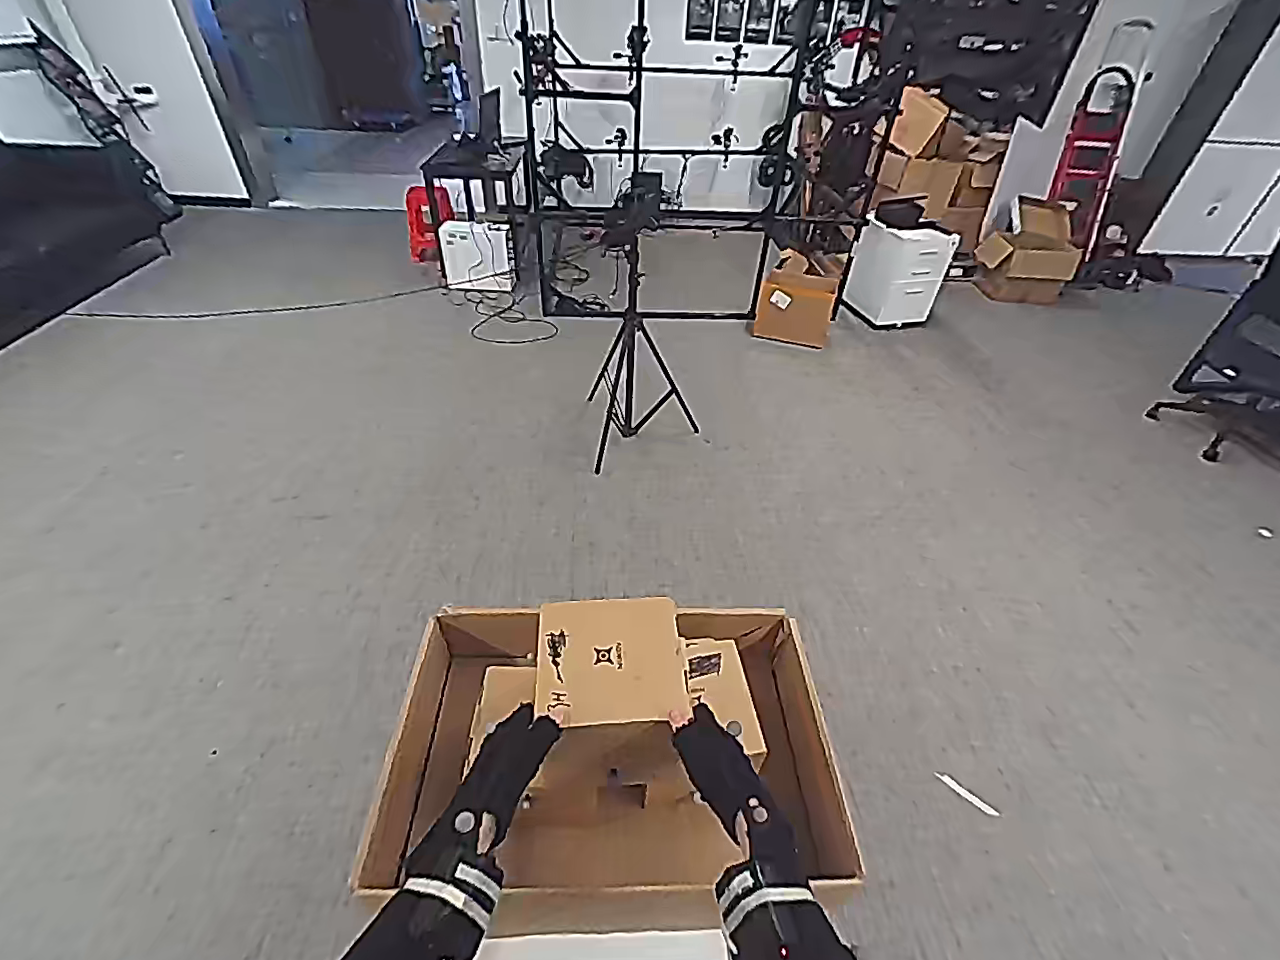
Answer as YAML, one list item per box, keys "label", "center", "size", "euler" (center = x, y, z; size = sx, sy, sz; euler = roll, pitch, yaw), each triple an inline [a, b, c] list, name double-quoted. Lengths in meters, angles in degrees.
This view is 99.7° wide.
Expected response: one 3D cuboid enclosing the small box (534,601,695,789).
- label: "small box"
  center: [-0.038, 0.273, 0.691]
  size: [0.179, 0.176, 0.168]
  euler: [0, 39, -6]
